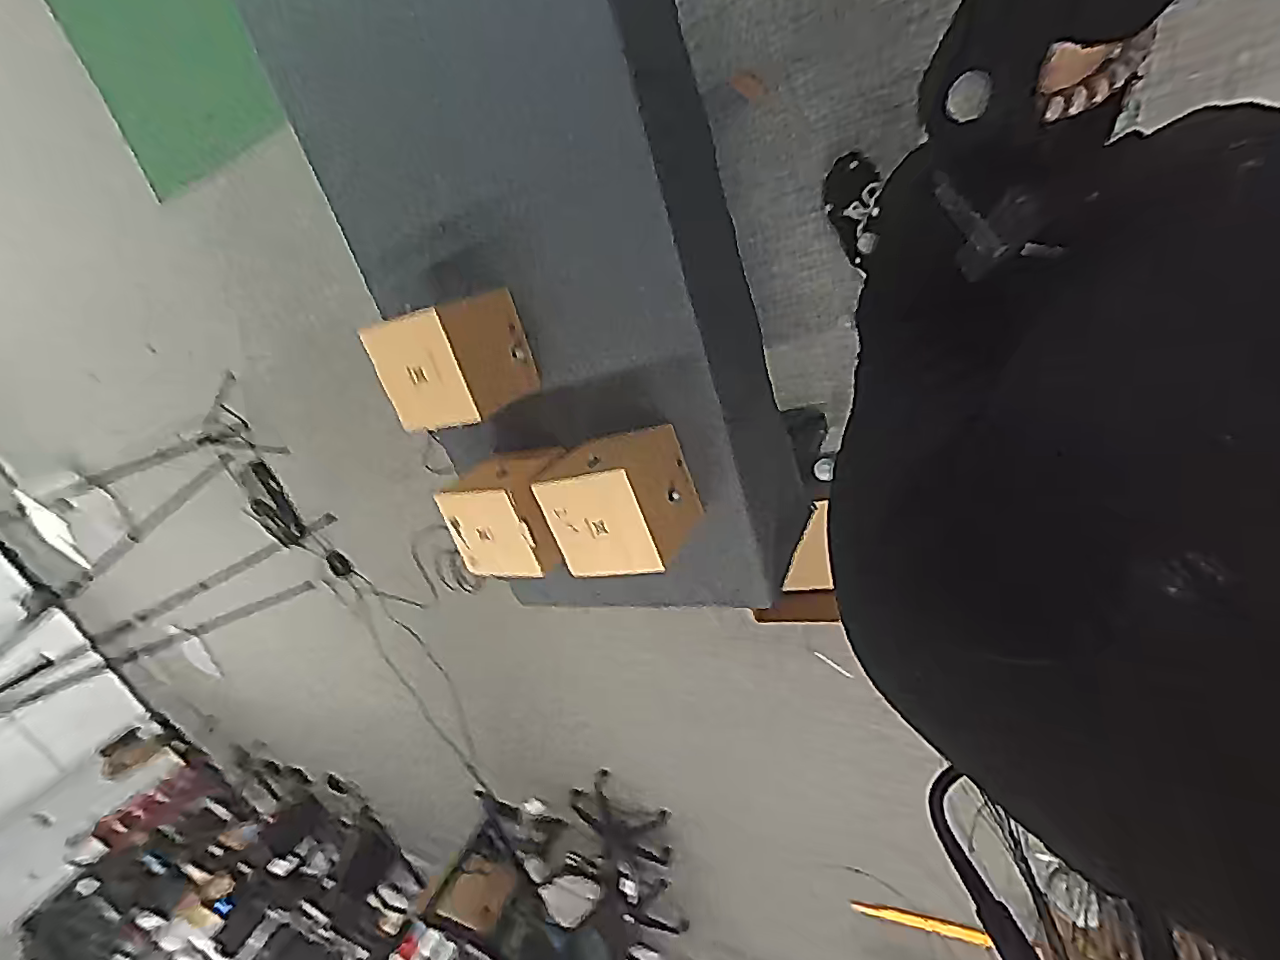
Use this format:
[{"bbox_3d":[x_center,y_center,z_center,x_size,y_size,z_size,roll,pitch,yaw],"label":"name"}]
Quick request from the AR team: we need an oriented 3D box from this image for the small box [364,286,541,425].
[{"bbox_3d":[-0.292,-0.201,0.873,0.179,0.176,0.168,-3,117,30],"label":"small box"}]
